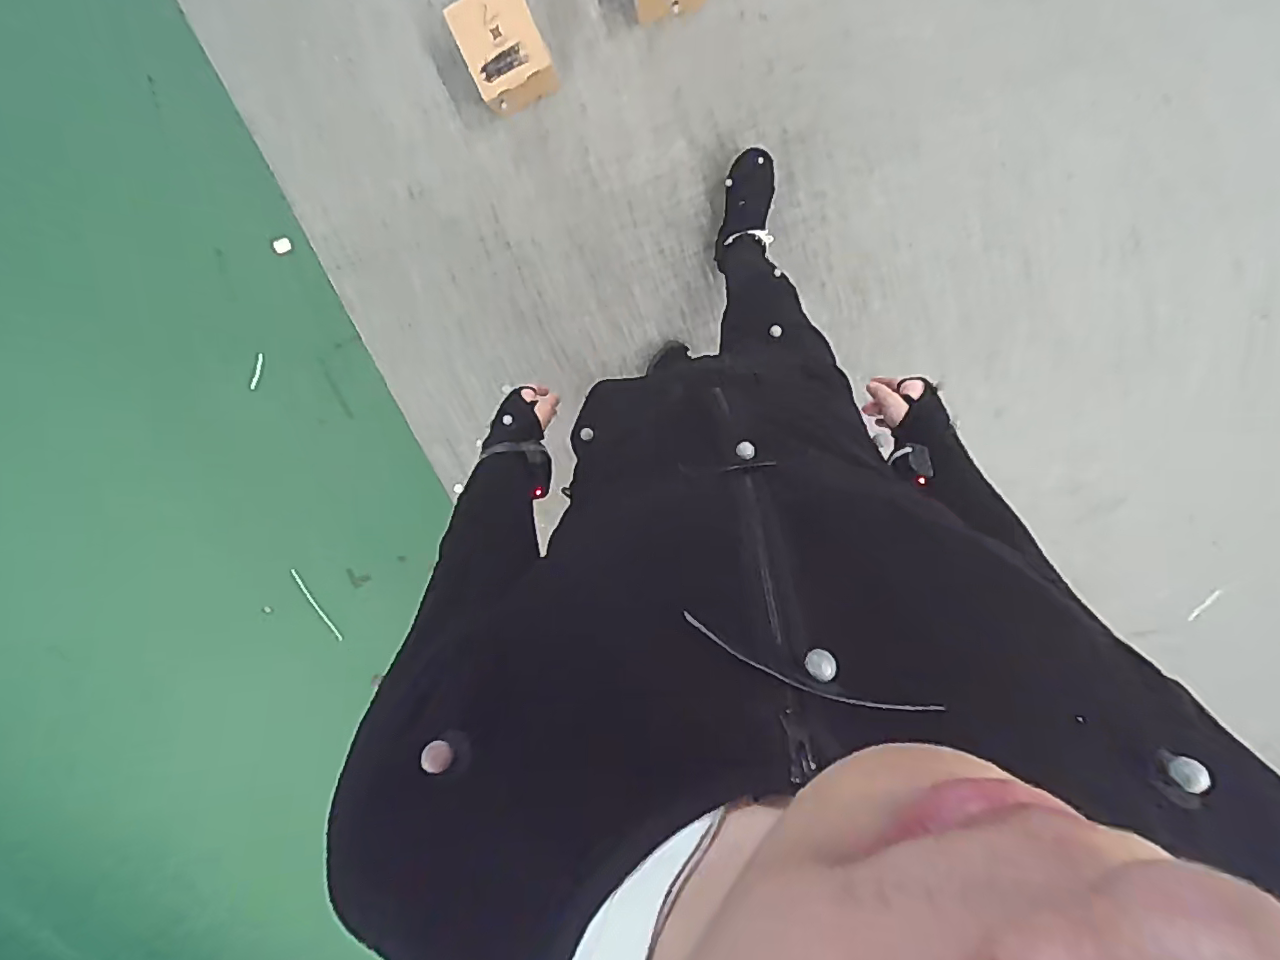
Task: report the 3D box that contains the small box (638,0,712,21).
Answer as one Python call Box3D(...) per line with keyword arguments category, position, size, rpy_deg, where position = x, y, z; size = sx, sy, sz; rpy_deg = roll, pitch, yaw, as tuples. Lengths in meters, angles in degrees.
Box3D(category="small box", position=(0.066, -1.094, 1.119), size=(0.168, 0.176, 0.179), rpy_deg=(-12, 113, 6))
